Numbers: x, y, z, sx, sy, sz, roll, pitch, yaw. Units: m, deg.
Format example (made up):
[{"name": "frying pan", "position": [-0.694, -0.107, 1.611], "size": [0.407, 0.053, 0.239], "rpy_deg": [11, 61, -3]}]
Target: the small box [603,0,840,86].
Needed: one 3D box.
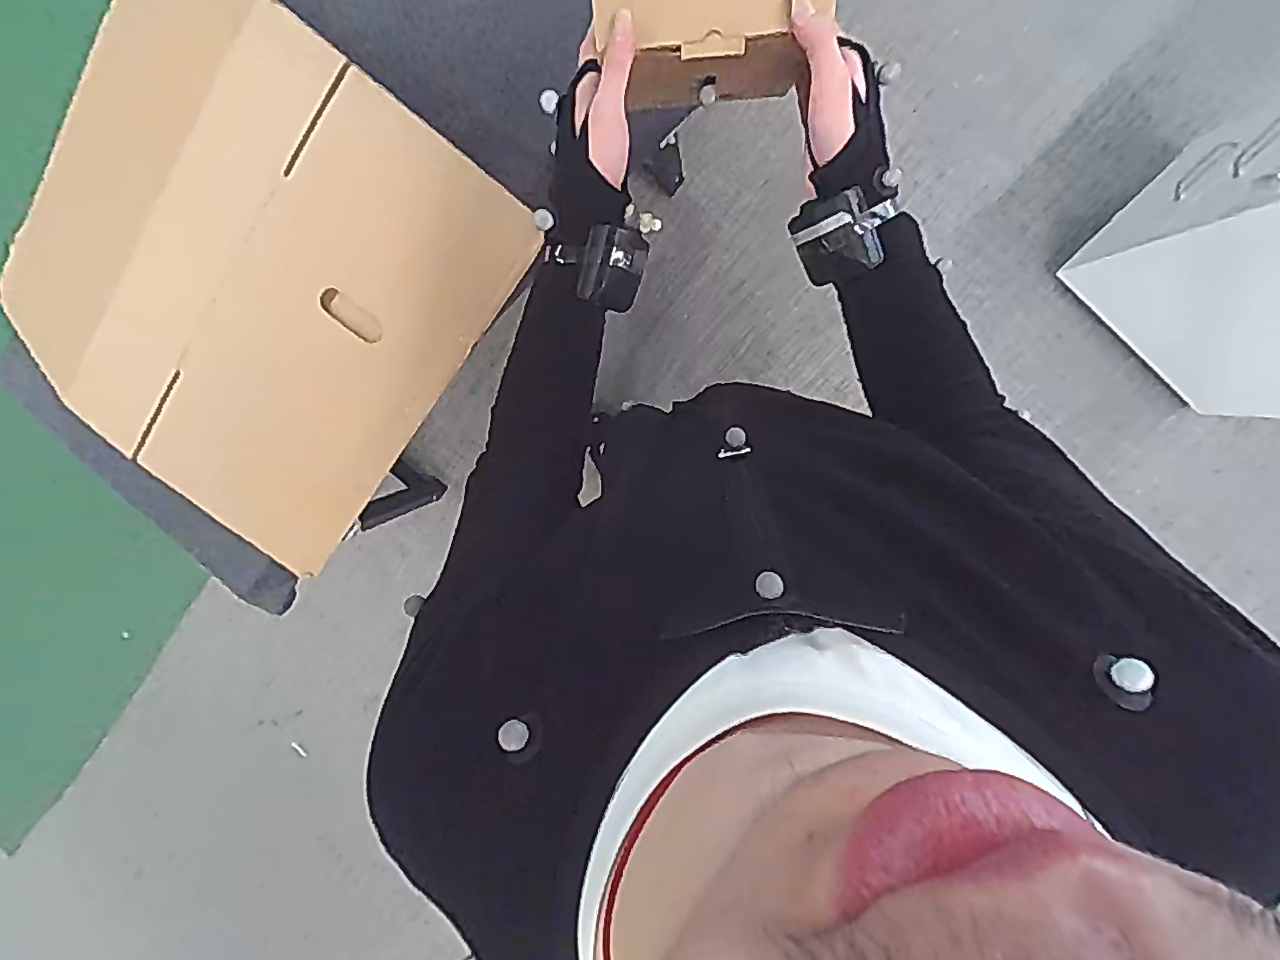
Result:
[{"name": "small box", "position": [0.057, -0.427, 0.414], "size": [0.168, 0.176, 0.179], "rpy_deg": [-4, 113, 7]}]
